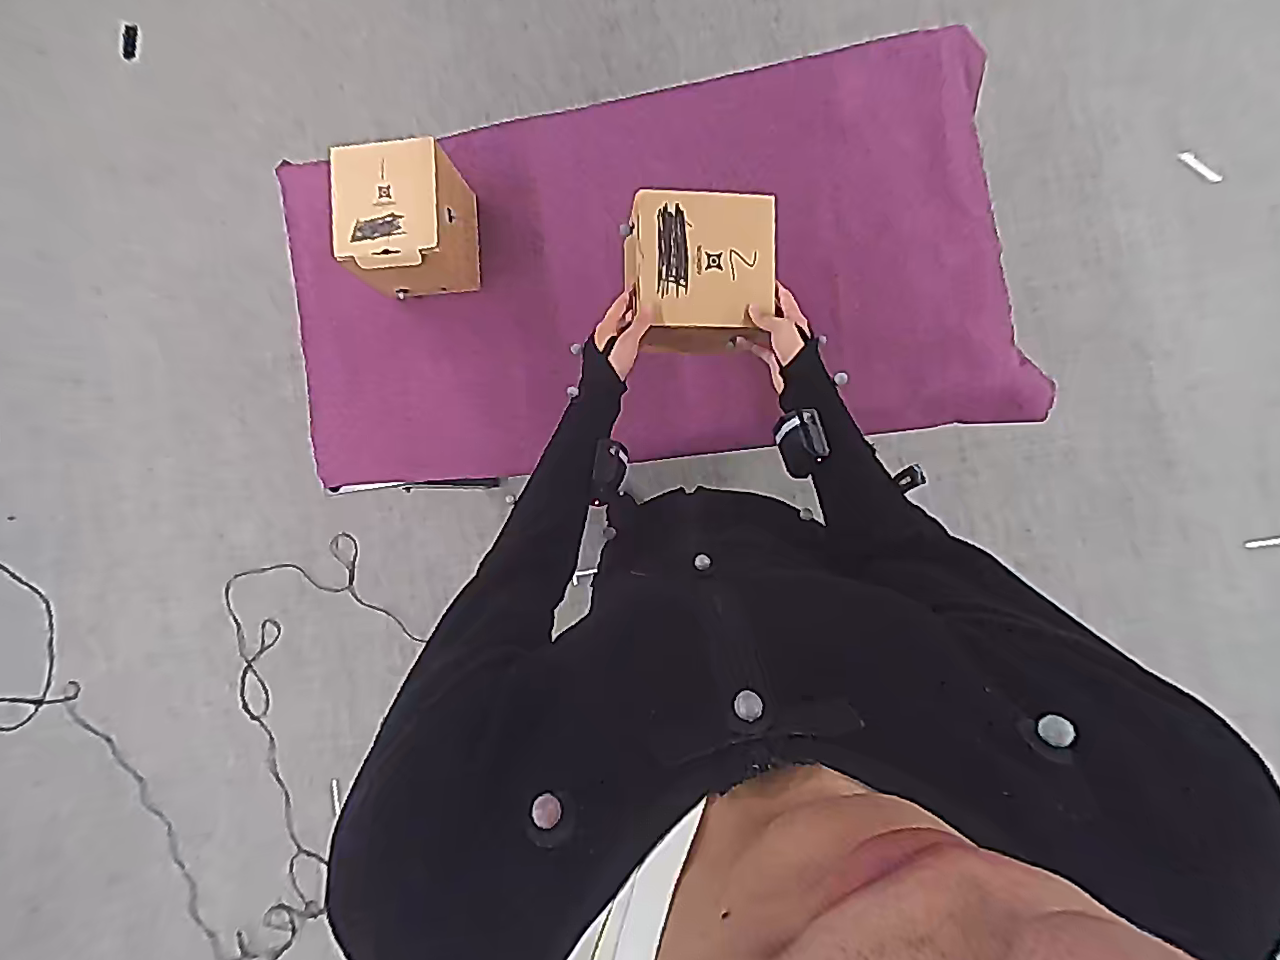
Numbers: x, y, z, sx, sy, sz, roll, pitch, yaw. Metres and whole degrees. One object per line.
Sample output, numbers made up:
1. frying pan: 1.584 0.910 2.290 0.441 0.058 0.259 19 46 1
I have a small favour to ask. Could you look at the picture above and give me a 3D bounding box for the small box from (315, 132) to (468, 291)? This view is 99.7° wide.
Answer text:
1. small box: -0.390 -0.418 0.875 0.168 0.176 0.179 -4 89 4
